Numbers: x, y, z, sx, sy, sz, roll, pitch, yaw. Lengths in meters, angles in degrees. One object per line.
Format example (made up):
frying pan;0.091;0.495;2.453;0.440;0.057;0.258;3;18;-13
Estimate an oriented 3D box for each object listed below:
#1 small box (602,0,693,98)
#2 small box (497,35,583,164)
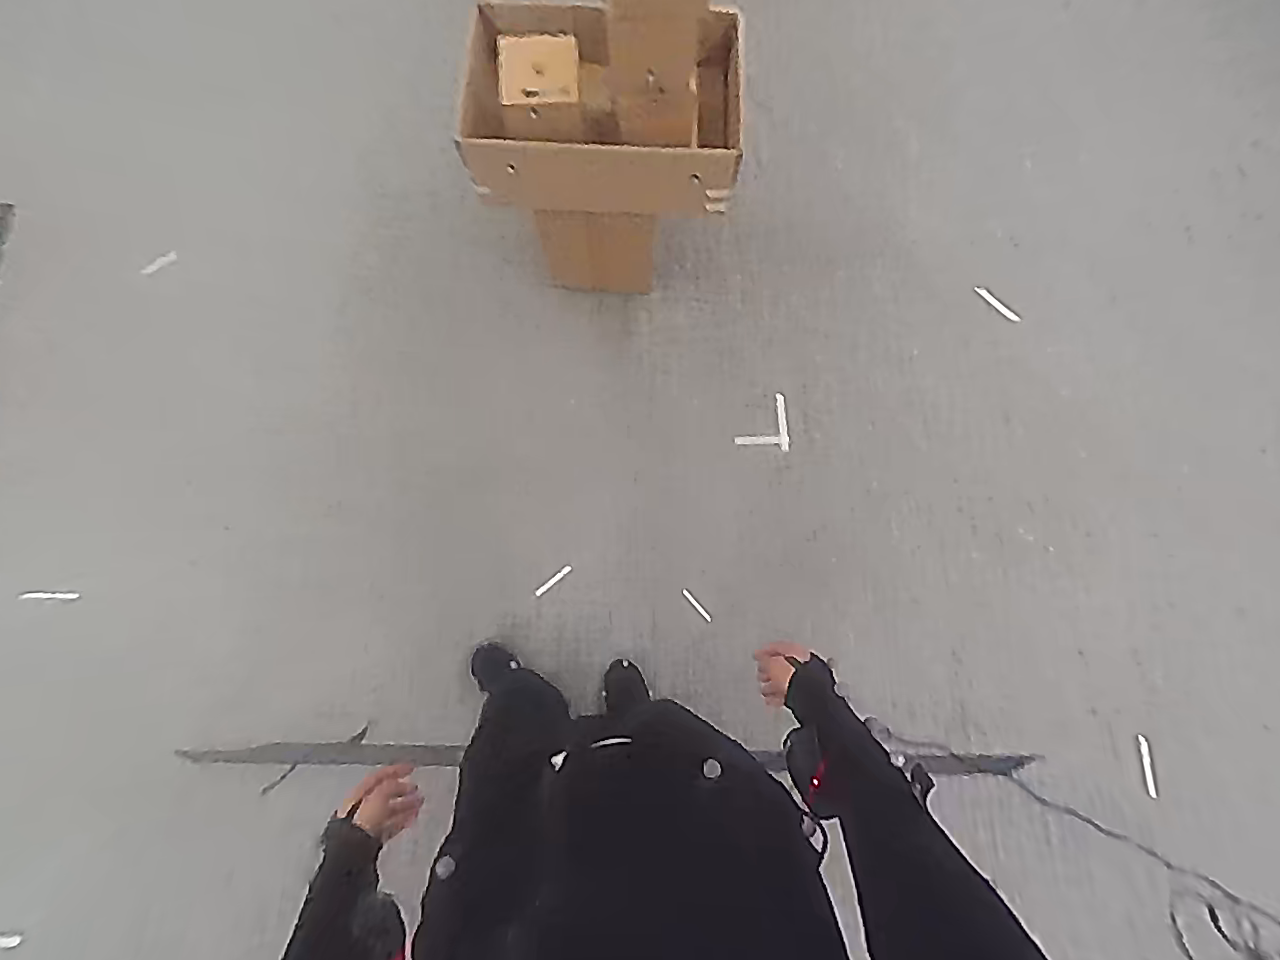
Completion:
small box;0.016;-0.896;1.060;0.168;0.176;0.179;0;78;1
small box;-0.220;-0.849;1.214;0.168;0.176;0.179;-3;77;-1
